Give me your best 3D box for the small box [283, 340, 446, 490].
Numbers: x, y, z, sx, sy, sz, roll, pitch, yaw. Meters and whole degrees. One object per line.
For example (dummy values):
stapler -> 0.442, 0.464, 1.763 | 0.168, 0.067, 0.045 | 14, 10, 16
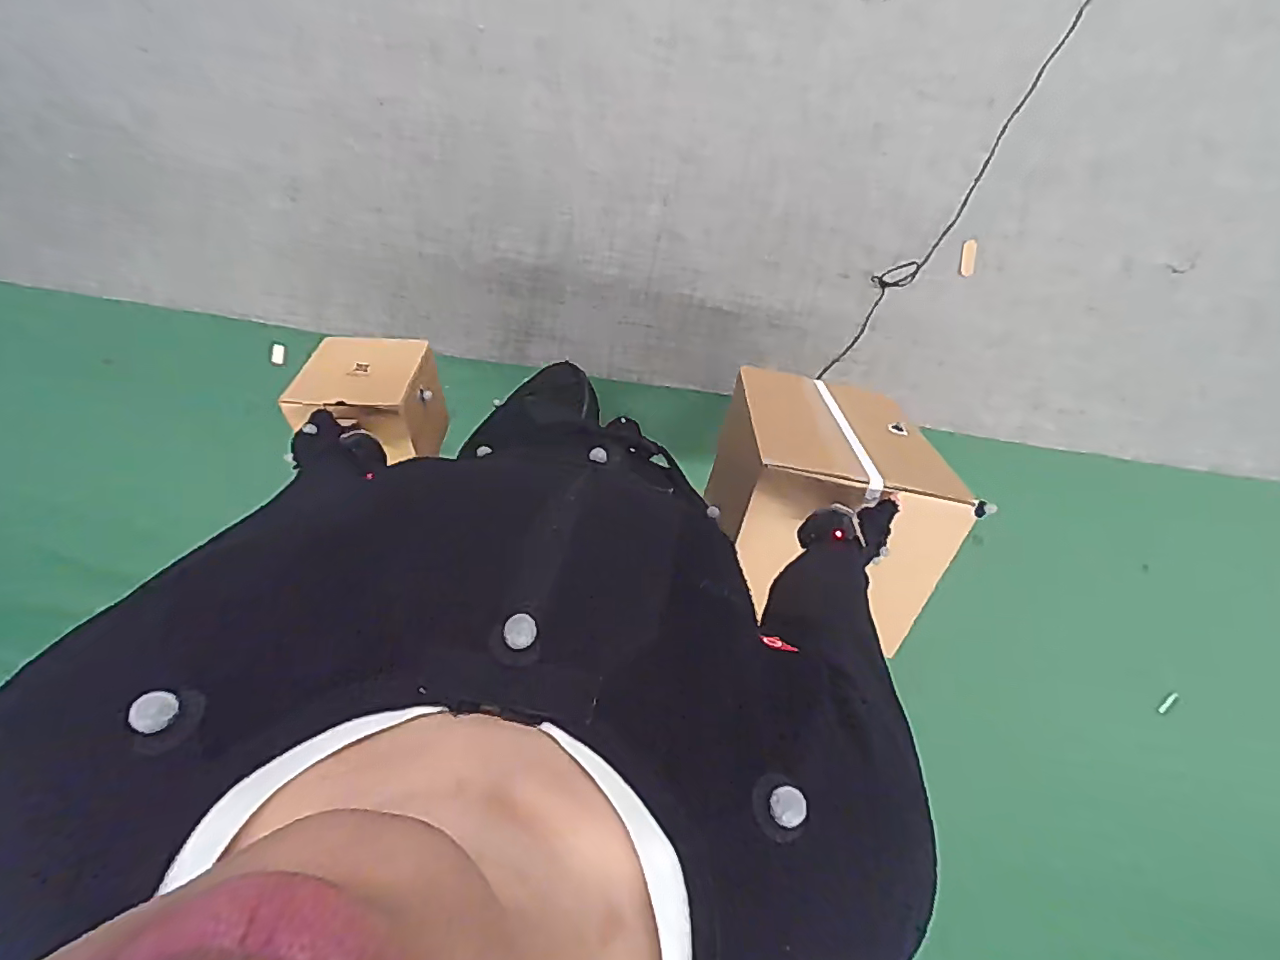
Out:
small box -> -0.425, -0.105, 0.873 | 0.168, 0.179, 0.176 | 1, 136, -3
